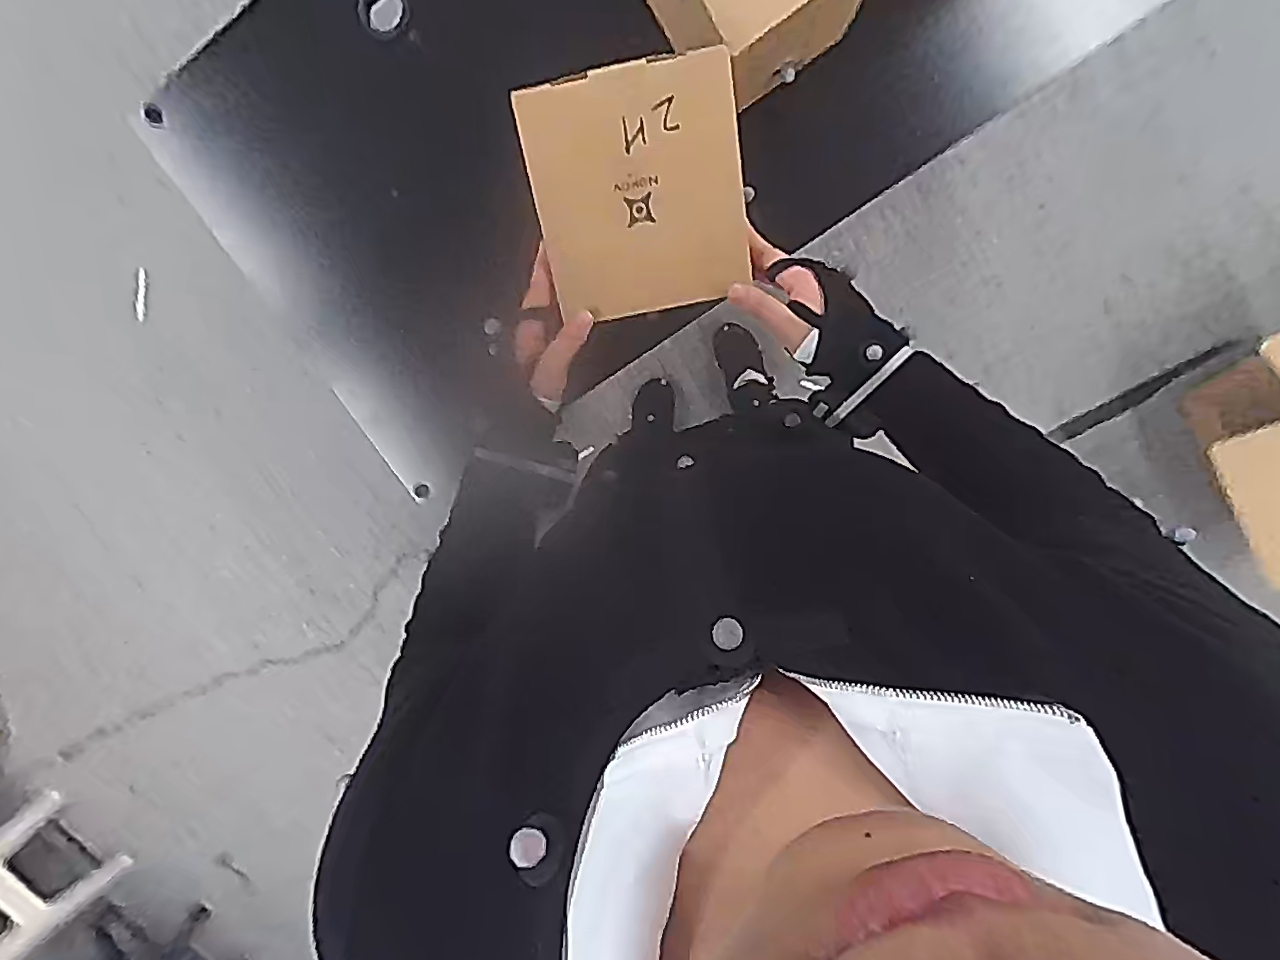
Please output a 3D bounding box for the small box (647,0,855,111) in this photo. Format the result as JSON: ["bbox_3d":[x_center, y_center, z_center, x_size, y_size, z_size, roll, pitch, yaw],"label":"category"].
[{"bbox_3d":[0.106,-0.515,0.537,0.168,0.176,0.179,-32,100,11],"label":"small box"}]

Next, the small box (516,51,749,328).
[{"bbox_3d":[0.002,-0.252,0.502,0.168,0.176,0.179,-9,112,4],"label":"small box"}]
